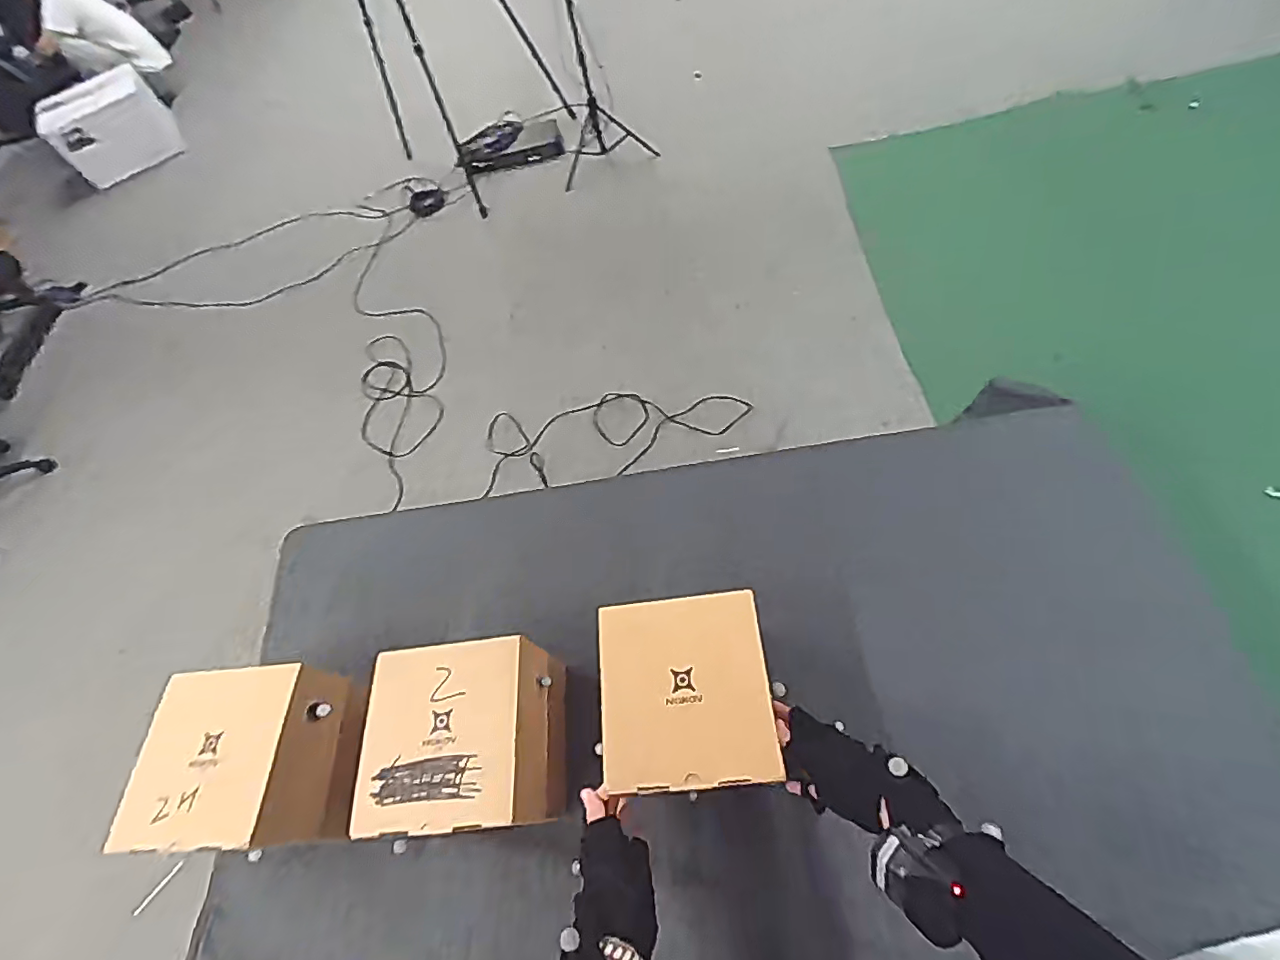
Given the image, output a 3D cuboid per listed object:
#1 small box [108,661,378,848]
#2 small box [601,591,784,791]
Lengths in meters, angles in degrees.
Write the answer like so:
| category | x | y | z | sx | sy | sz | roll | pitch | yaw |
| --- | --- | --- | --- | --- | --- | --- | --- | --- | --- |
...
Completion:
| category | x | y | z | sx | sy | sz | roll | pitch | yaw |
| --- | --- | --- | --- | --- | --- | --- | --- | --- | --- |
| small box | -0.442 | 0.327 | 0.641 | 0.168 | 0.176 | 0.179 | -7 | 59 | 8 |
| small box | 0.055 | 0.238 | 0.595 | 0.168 | 0.176 | 0.179 | -8 | 61 | 7 |
